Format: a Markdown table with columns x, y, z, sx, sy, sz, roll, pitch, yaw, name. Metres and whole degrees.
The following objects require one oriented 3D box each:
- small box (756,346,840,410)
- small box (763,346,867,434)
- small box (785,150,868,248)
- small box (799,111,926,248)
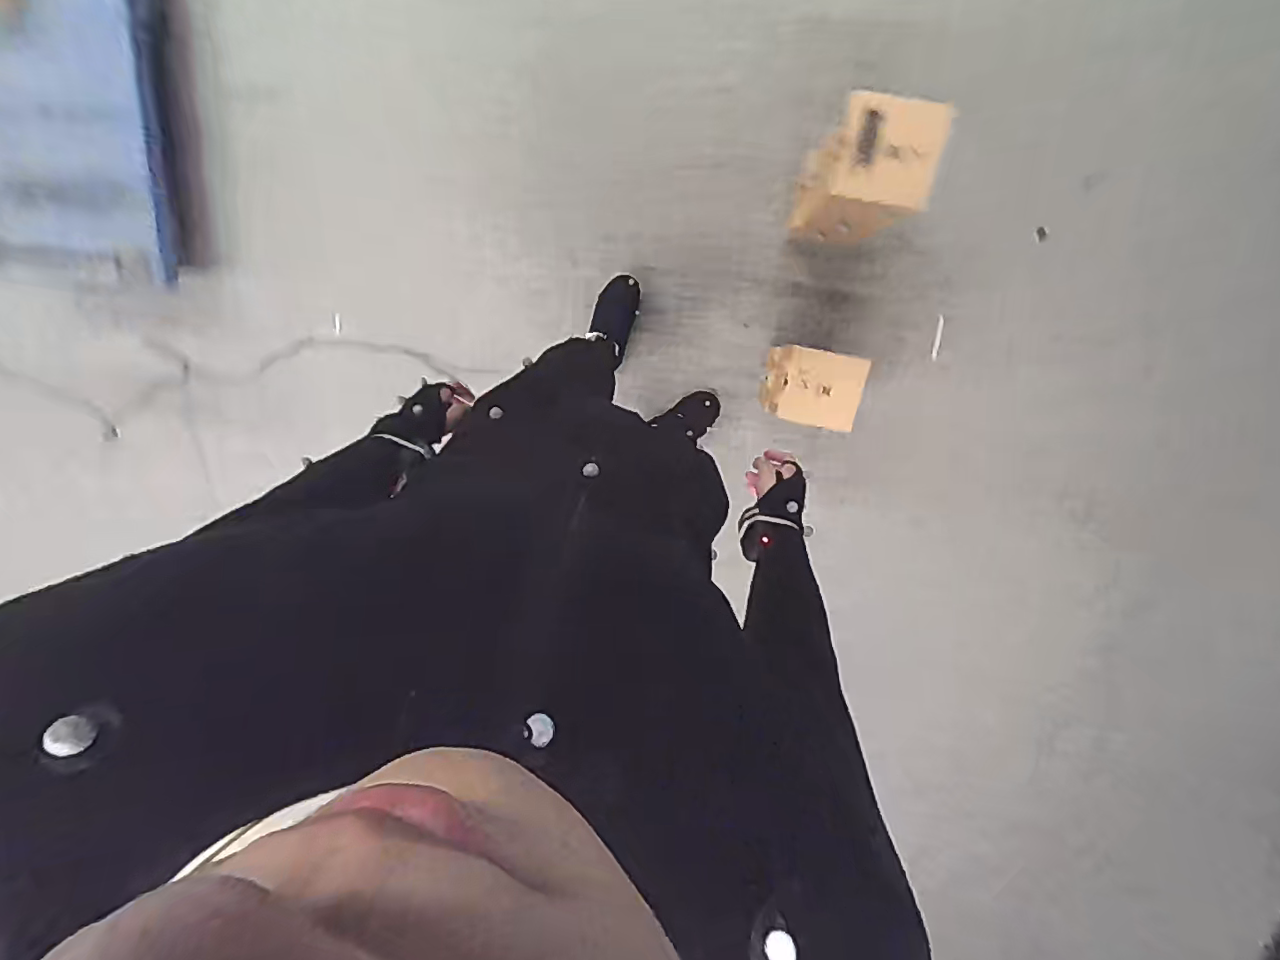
| x | y | z | sx | sy | sz | roll | pitch | yaw | name |
| --- | --- | --- | --- | --- | --- | --- | --- | --- | --- |
| 0.414 | -0.263 | 1.443 | 0.179 | 0.176 | 0.168 | 10 | 105 | 5 | small box |
| 0.405 | -0.220 | 1.284 | 0.179 | 0.176 | 0.168 | 14 | 105 | 3 | small box |
| 0.469 | -0.681 | 1.329 | 0.179 | 0.176 | 0.168 | 12 | 106 | 2 | small box |
| 0.471 | -0.641 | 1.178 | 0.168 | 0.176 | 0.179 | 43 | 105 | -3 | small box |
